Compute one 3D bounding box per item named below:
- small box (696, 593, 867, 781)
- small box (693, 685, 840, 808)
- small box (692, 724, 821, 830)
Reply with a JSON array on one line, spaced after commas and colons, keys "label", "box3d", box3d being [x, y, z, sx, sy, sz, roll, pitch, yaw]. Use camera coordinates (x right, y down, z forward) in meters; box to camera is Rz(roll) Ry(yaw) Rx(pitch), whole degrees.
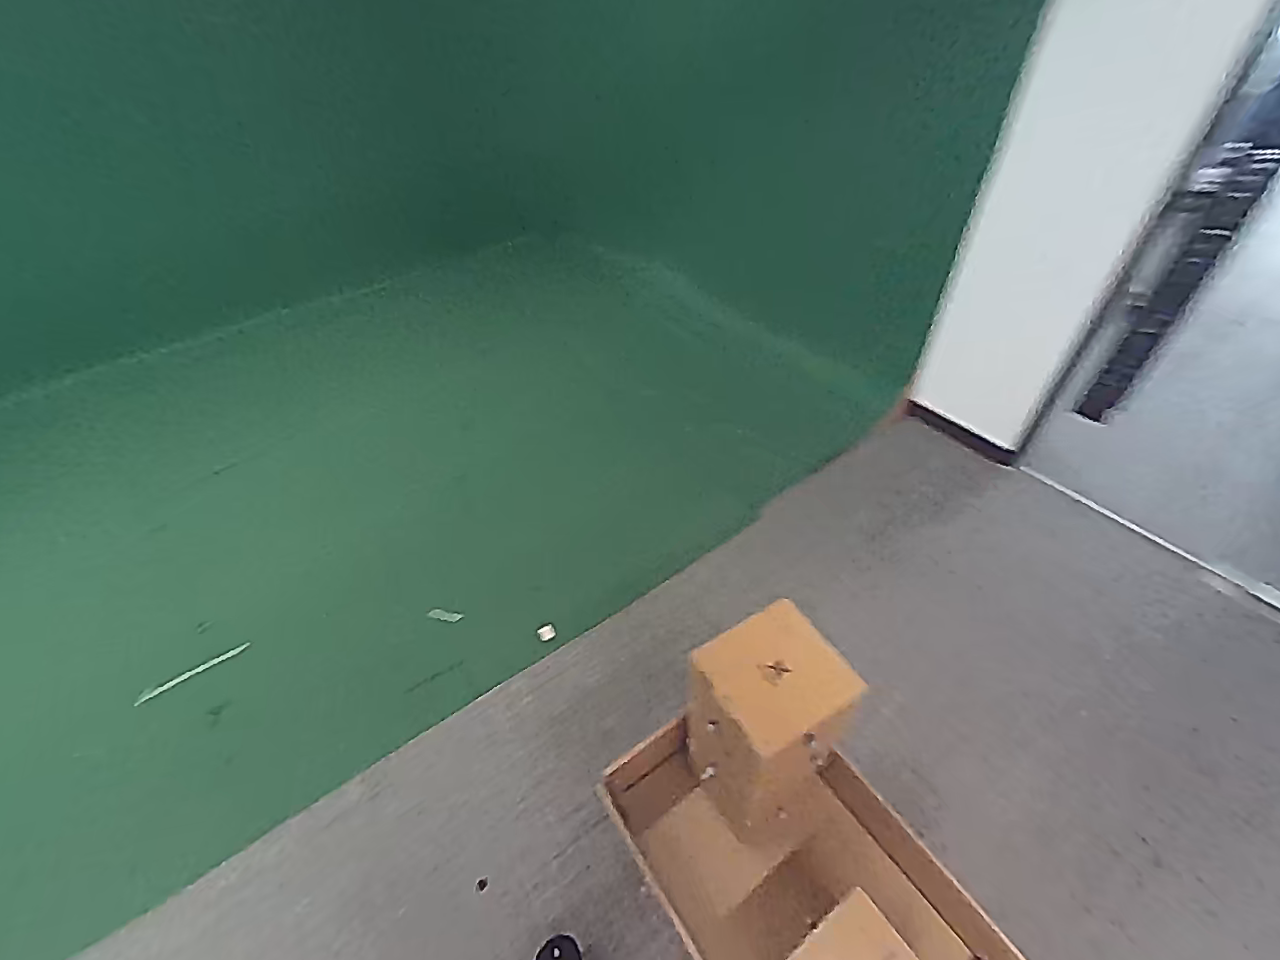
[{"label": "small box", "box3d": [0.194, 0.305, 0.798, 0.179, 0.176, 0.168, -24, 49, -16]}, {"label": "small box", "box3d": [0.202, 0.415, 0.917, 0.179, 0.176, 0.168, -25, 49, -18]}, {"label": "small box", "box3d": [0.212, 0.526, 1.035, 0.179, 0.176, 0.168, -27, 49, -20]}]
